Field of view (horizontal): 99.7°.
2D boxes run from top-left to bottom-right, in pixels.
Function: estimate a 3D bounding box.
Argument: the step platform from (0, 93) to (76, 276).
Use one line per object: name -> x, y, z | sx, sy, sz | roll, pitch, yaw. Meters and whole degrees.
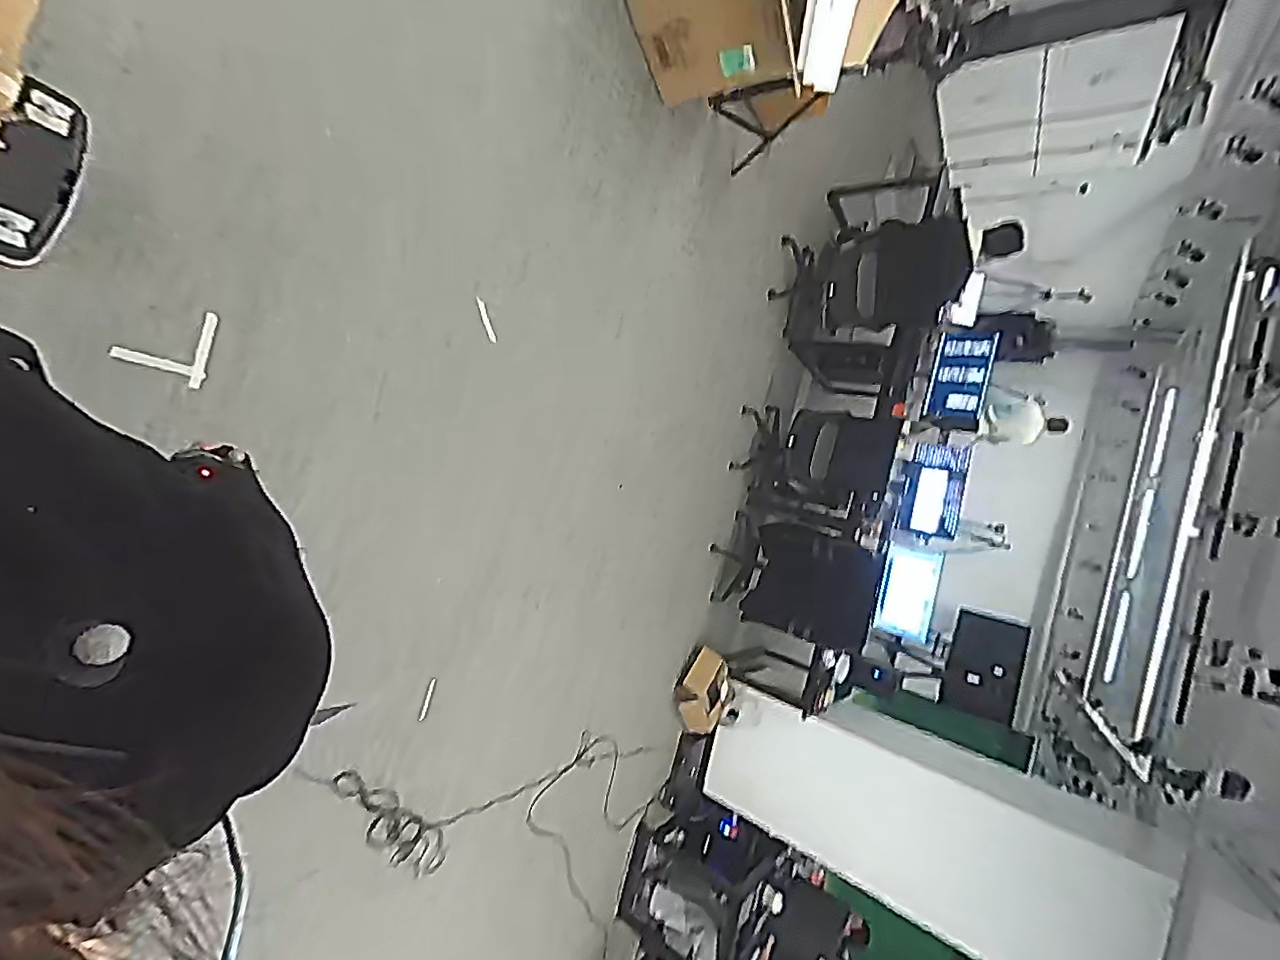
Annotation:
step platform -> -1.192, -0.557, 0.662 | 0.684, 0.204, 0.286 | 30, 76, -53
